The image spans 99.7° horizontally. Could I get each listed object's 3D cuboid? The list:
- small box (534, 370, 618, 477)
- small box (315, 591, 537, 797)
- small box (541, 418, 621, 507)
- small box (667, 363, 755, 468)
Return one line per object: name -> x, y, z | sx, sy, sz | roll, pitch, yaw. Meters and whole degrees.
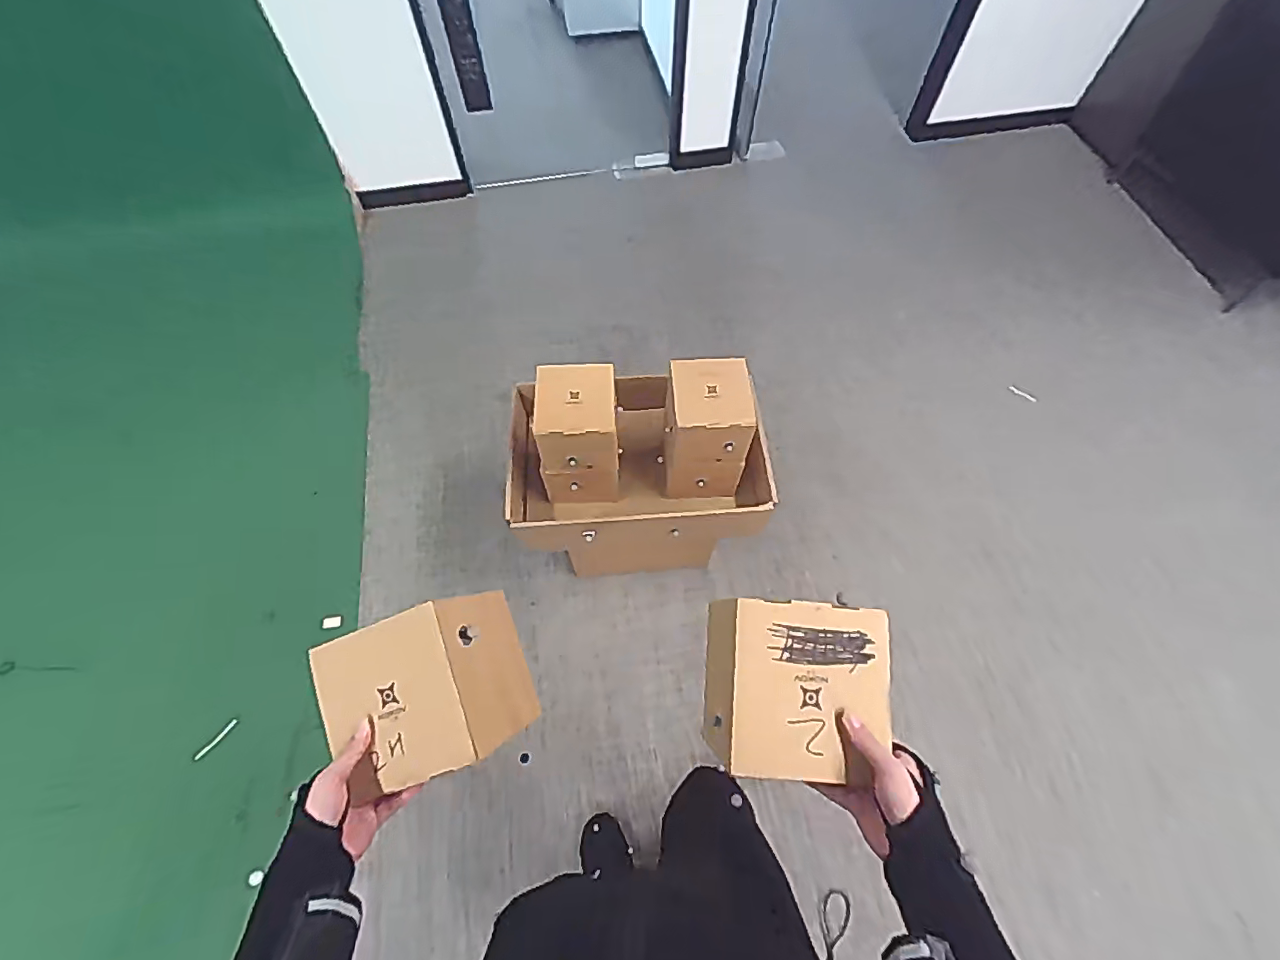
small box -> -0.136, -0.122, 1.195 | 0.168, 0.176, 0.179 | -2, 62, -1
small box -> -0.250, 0.243, 0.662 | 0.168, 0.176, 0.179 | -23, 78, 9
small box -> -0.139, -0.041, 1.337 | 0.179, 0.176, 0.168 | -1, 61, -1
small box -> 0.149, -0.137, 1.198 | 0.168, 0.176, 0.179 | -2, 60, -2
